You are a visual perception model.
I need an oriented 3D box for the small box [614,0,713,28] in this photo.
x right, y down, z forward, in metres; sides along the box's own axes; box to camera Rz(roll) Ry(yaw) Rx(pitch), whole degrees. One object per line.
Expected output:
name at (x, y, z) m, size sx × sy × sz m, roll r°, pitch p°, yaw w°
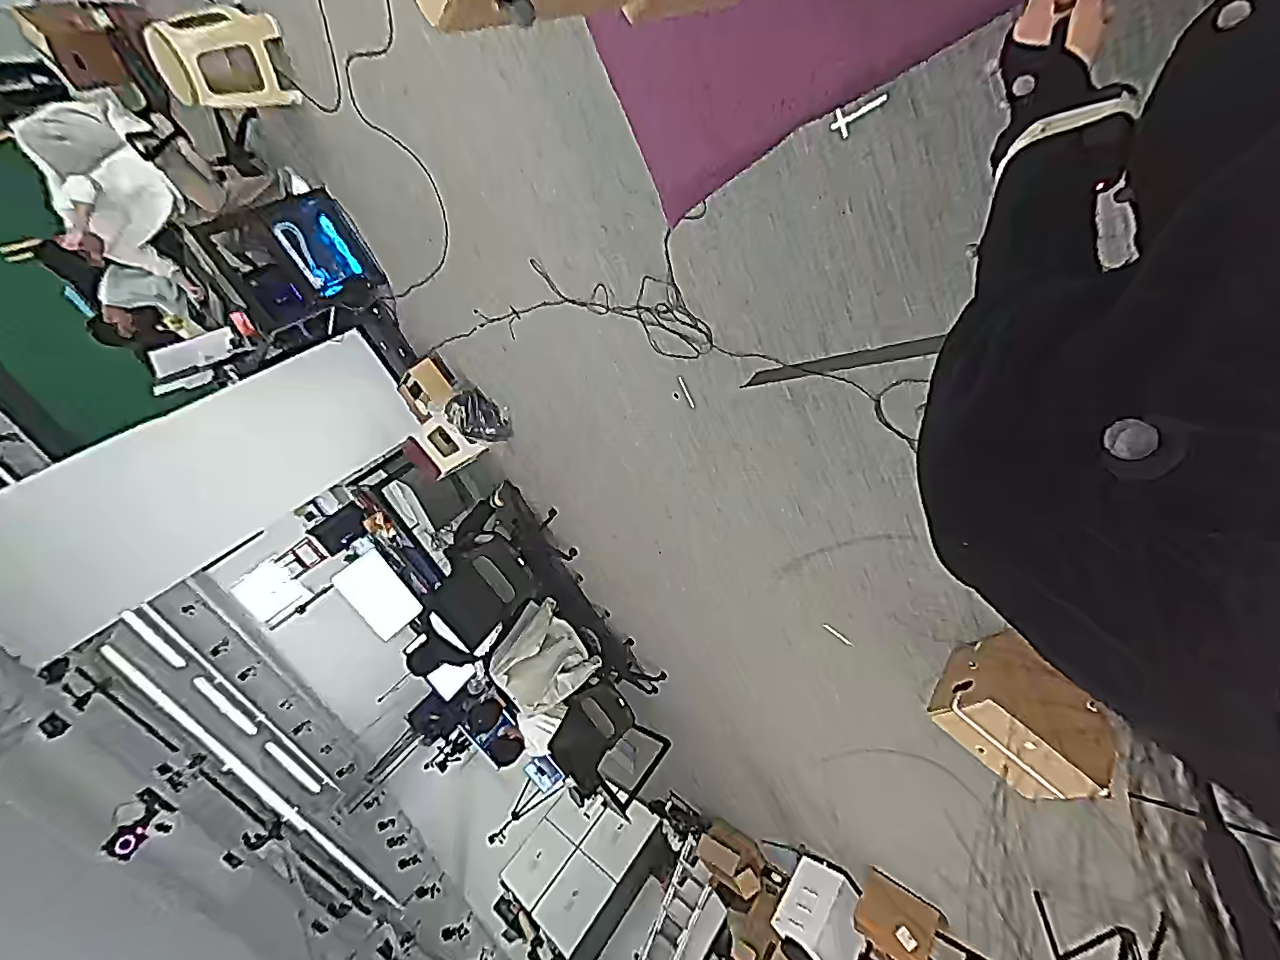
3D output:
small box at (0.046, -0.475, 0.375) m, size 0.168 × 0.176 × 0.179 m, roll -9°, pitch 118°, yaw 53°
